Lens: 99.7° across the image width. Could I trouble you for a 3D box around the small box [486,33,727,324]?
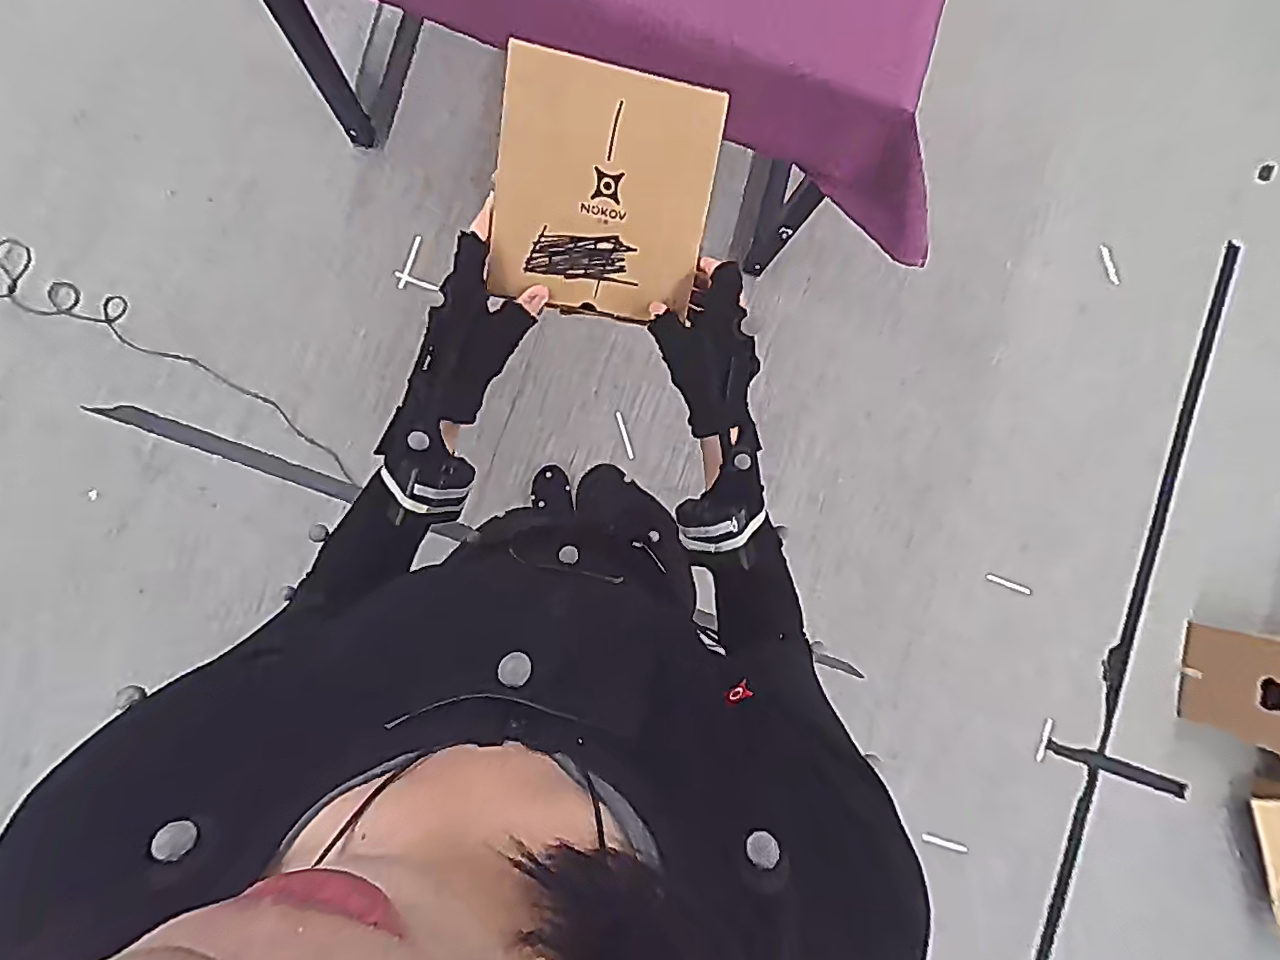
[{"bbox_3d":[-0.036,-0.248,0.494,0.168,0.176,0.179,8,105,-9],"label":"small box"}]
